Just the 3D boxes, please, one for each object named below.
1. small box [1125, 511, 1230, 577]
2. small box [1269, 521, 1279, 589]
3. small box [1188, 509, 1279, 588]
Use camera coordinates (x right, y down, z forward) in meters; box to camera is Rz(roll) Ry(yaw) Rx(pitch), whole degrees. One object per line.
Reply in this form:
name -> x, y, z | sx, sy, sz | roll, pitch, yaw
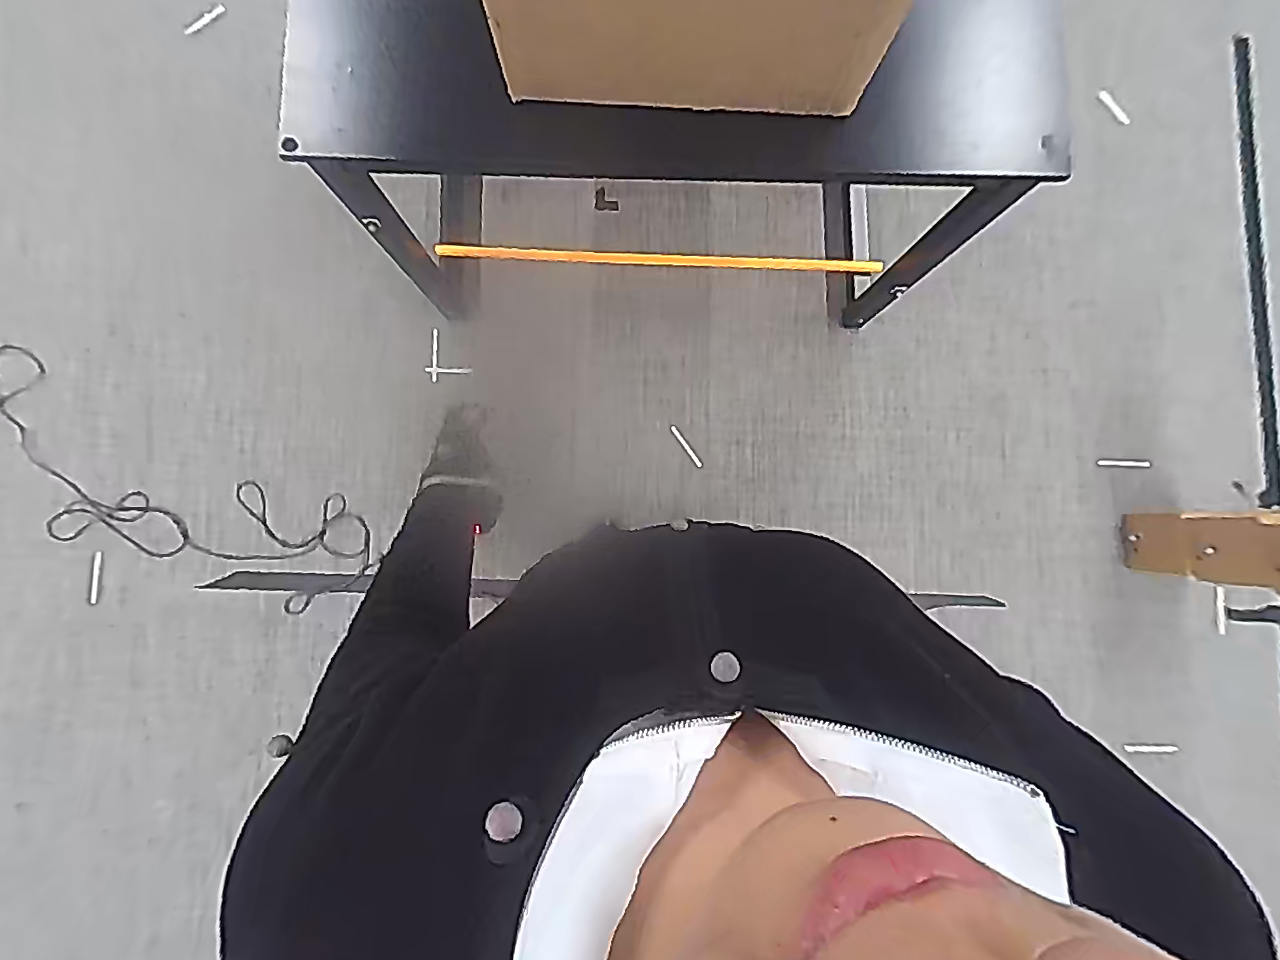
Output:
small box -> 1.478, 0.169, 1.463 | 0.179, 0.176, 0.168 | -2, 85, -1
small box -> 1.497, 0.159, 1.135 | 0.179, 0.176, 0.168 | -9, 85, -2
small box -> 1.496, 0.160, 1.299 | 0.179, 0.176, 0.168 | -7, 85, -2
